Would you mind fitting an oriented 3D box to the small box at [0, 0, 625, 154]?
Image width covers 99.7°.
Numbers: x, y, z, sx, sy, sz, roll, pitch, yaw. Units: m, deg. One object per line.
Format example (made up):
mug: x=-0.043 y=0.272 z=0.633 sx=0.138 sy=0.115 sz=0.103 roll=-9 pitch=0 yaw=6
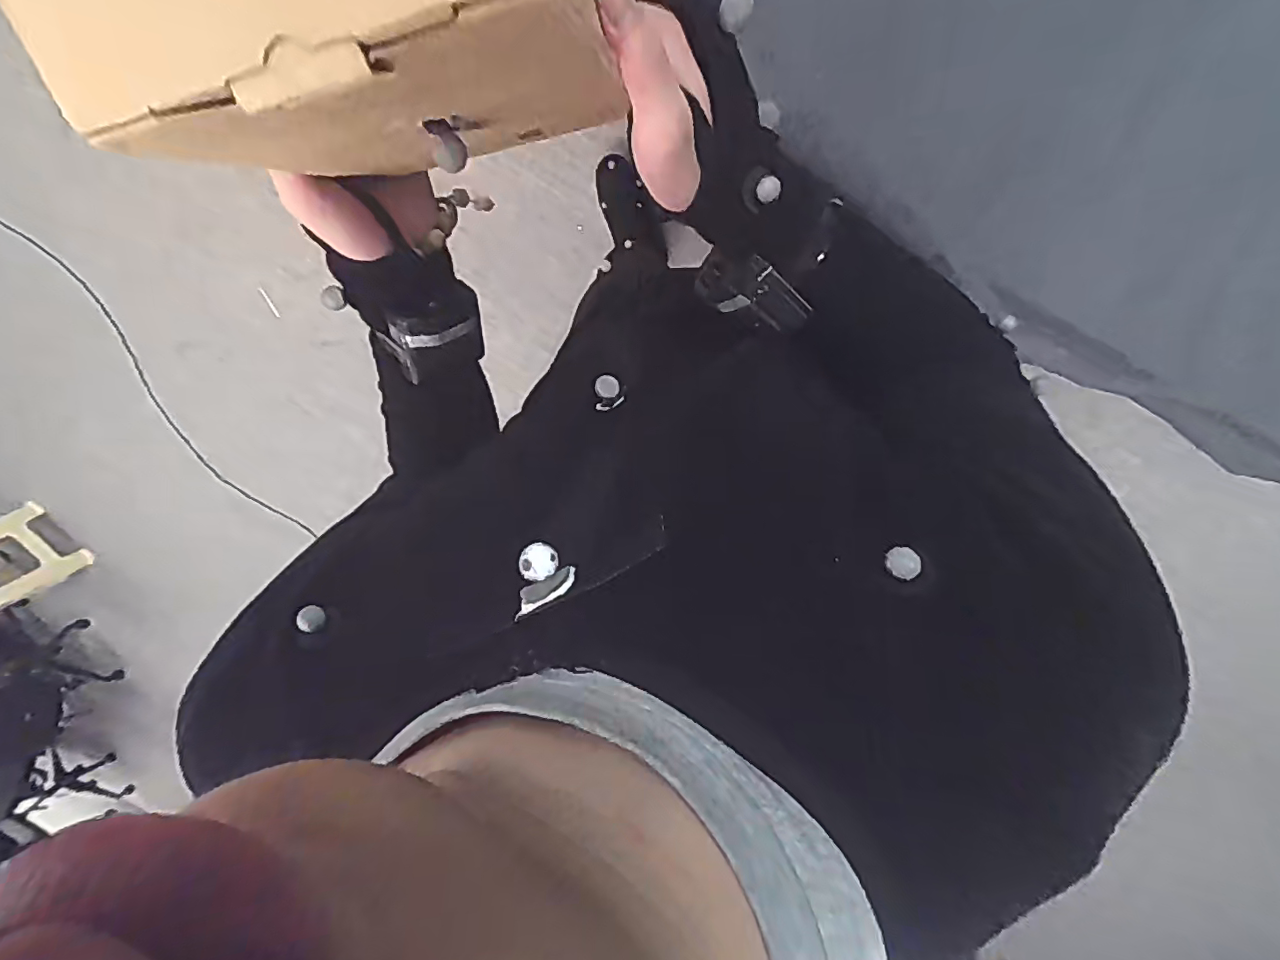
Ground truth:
small box: x=-0.107 y=-0.224 z=0.182 sx=0.168 sy=0.176 sz=0.179 roll=-7 pitch=116 yaw=10
